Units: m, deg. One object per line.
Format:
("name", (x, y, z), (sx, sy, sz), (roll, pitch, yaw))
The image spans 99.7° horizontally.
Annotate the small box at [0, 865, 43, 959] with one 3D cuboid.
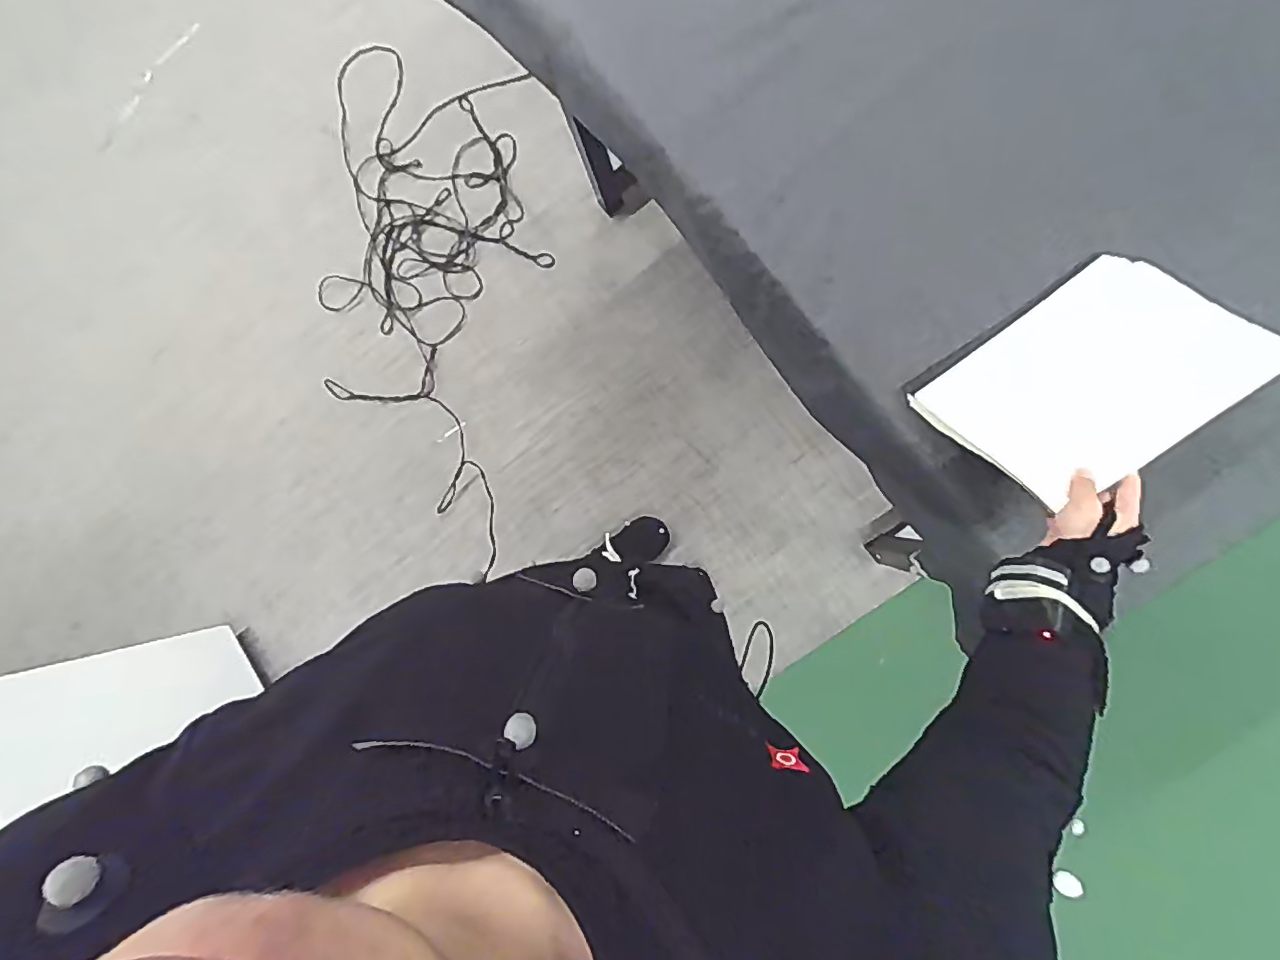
("small box", (-1.059, 0.729, 0.804), (0.179, 0.176, 0.168), (-35, 81, 7))
